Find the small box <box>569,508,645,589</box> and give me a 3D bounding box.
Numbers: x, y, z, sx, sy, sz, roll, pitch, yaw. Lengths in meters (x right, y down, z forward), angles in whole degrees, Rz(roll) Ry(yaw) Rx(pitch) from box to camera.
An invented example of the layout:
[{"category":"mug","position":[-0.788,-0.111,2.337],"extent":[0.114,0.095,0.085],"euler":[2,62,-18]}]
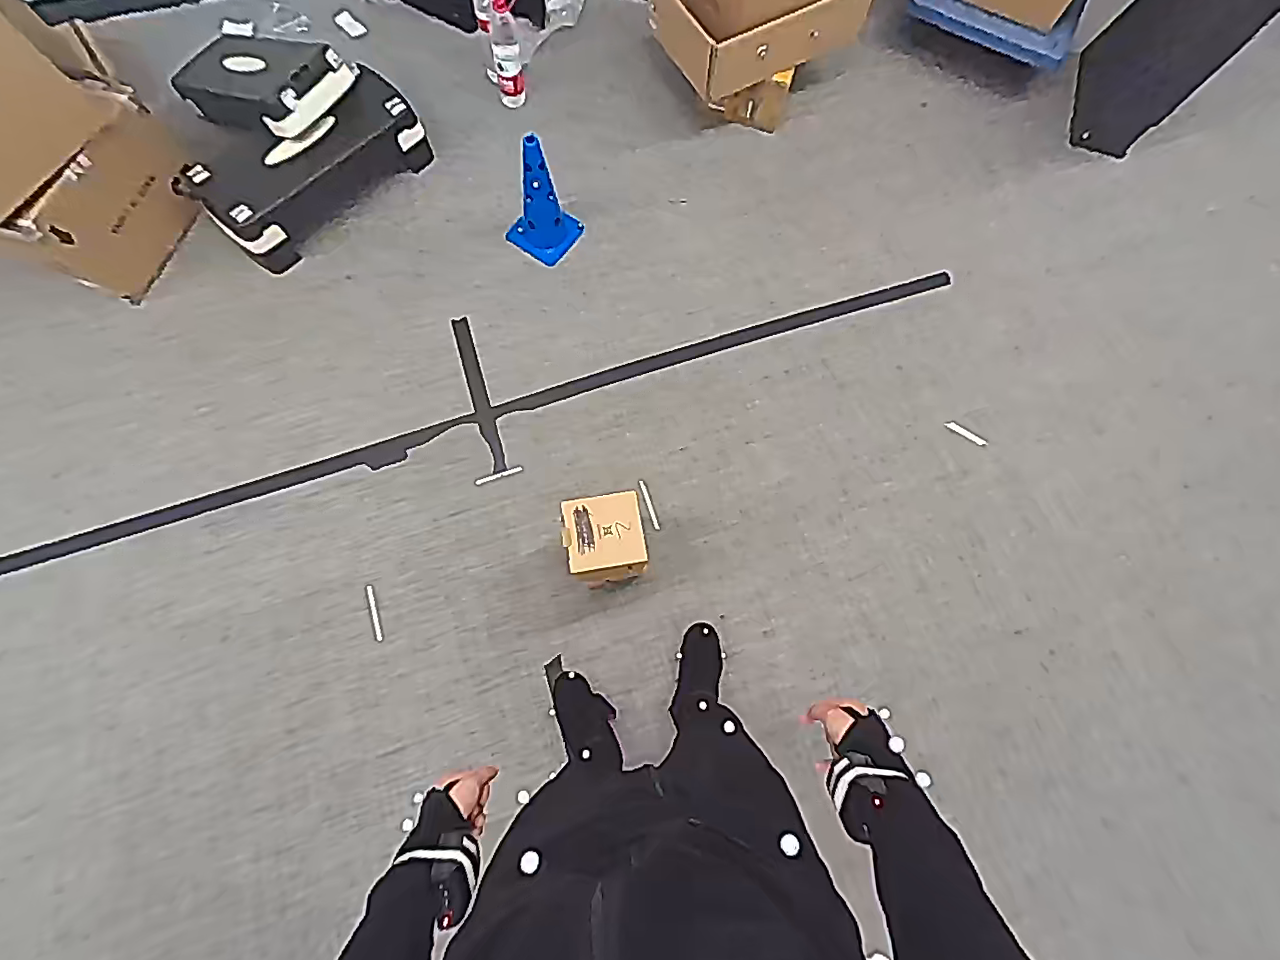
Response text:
[{"category":"small box","position":[-0.085,0.189,1.447],"extent":[0.168,0.176,0.179],"euler":[-13,75,-7]}]
